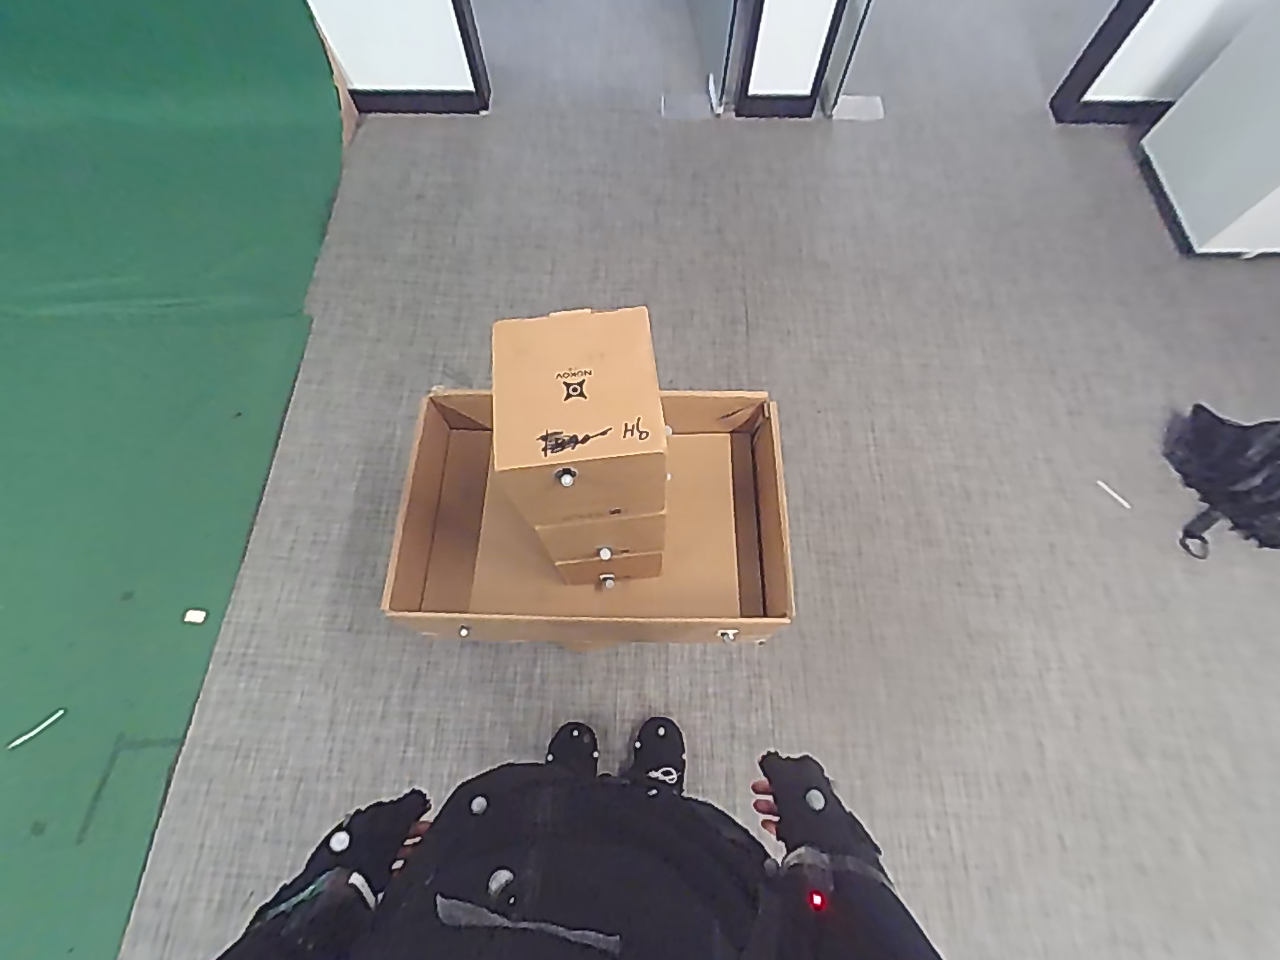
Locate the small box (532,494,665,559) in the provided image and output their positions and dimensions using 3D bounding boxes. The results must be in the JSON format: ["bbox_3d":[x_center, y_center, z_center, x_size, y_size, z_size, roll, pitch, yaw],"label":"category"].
[{"bbox_3d":[-0.057,0.002,0.769,0.168,0.176,0.179,-6,68,0],"label":"small box"}]

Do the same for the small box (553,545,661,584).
[{"bbox_3d":[-0.056,0.067,0.919,0.168,0.176,0.179,-6,68,-1],"label":"small box"}]

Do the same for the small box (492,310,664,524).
[{"bbox_3d":[-0.065,-0.065,0.620,0.168,0.176,0.179,-7,66,0],"label":"small box"}]
